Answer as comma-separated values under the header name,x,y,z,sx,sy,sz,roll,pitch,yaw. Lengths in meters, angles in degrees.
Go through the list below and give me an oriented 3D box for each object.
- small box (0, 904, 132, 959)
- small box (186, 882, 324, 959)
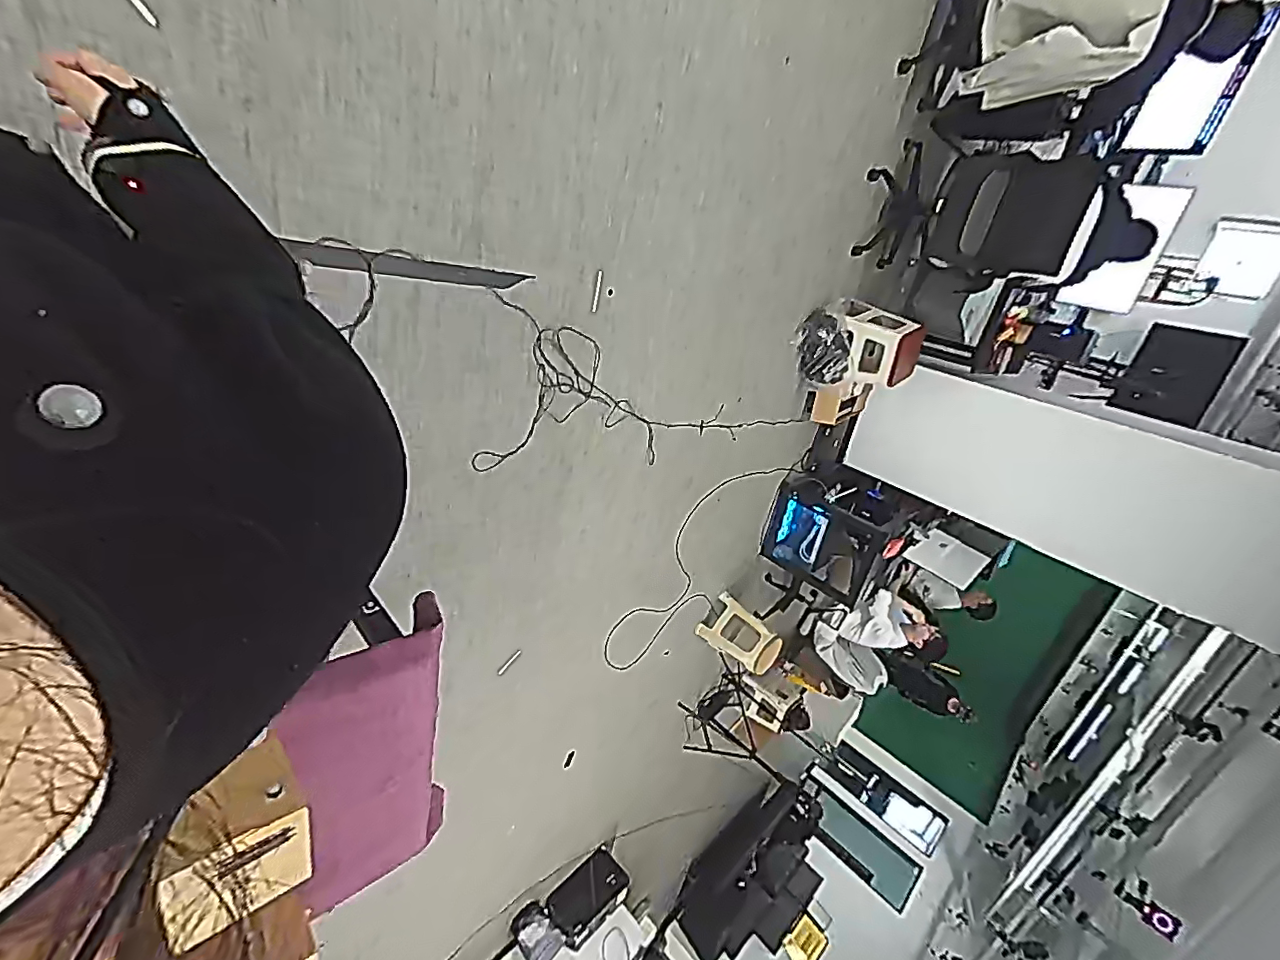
name,x,y,z,sx,sy,sz,roll,pitch,yaw
small box,-0.790,0.724,0.720,0.168,0.176,0.179,-12,124,-45
small box,-0.671,0.862,0.949,0.168,0.176,0.179,-13,121,-44
